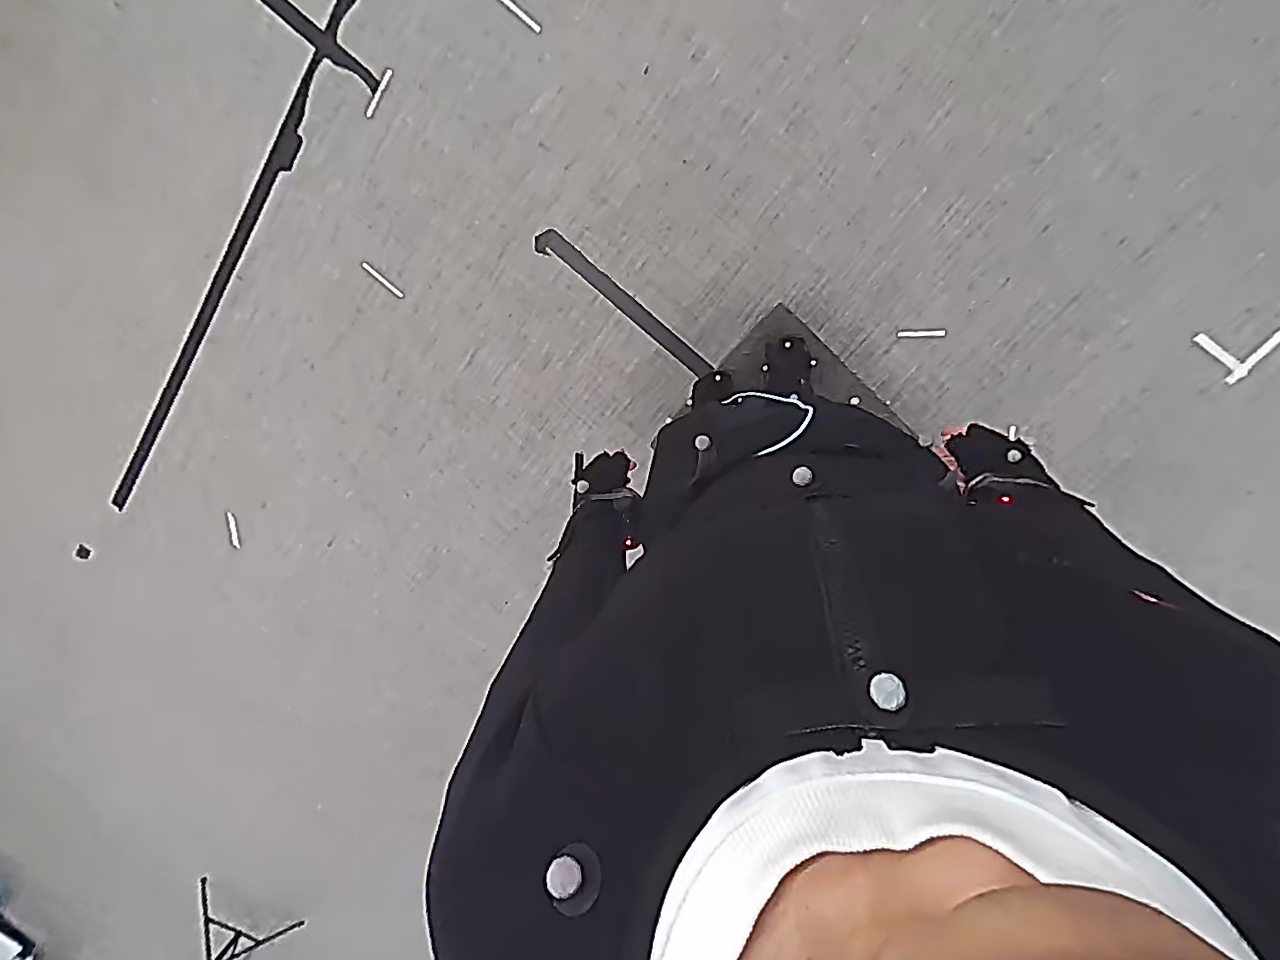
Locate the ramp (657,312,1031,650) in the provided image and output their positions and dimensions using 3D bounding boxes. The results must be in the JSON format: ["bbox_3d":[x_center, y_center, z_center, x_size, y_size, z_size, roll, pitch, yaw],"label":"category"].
[{"bbox_3d":[0.578,0.051,1.493,0.991,0.206,0.509,39,105,-1],"label":"ramp"}]
